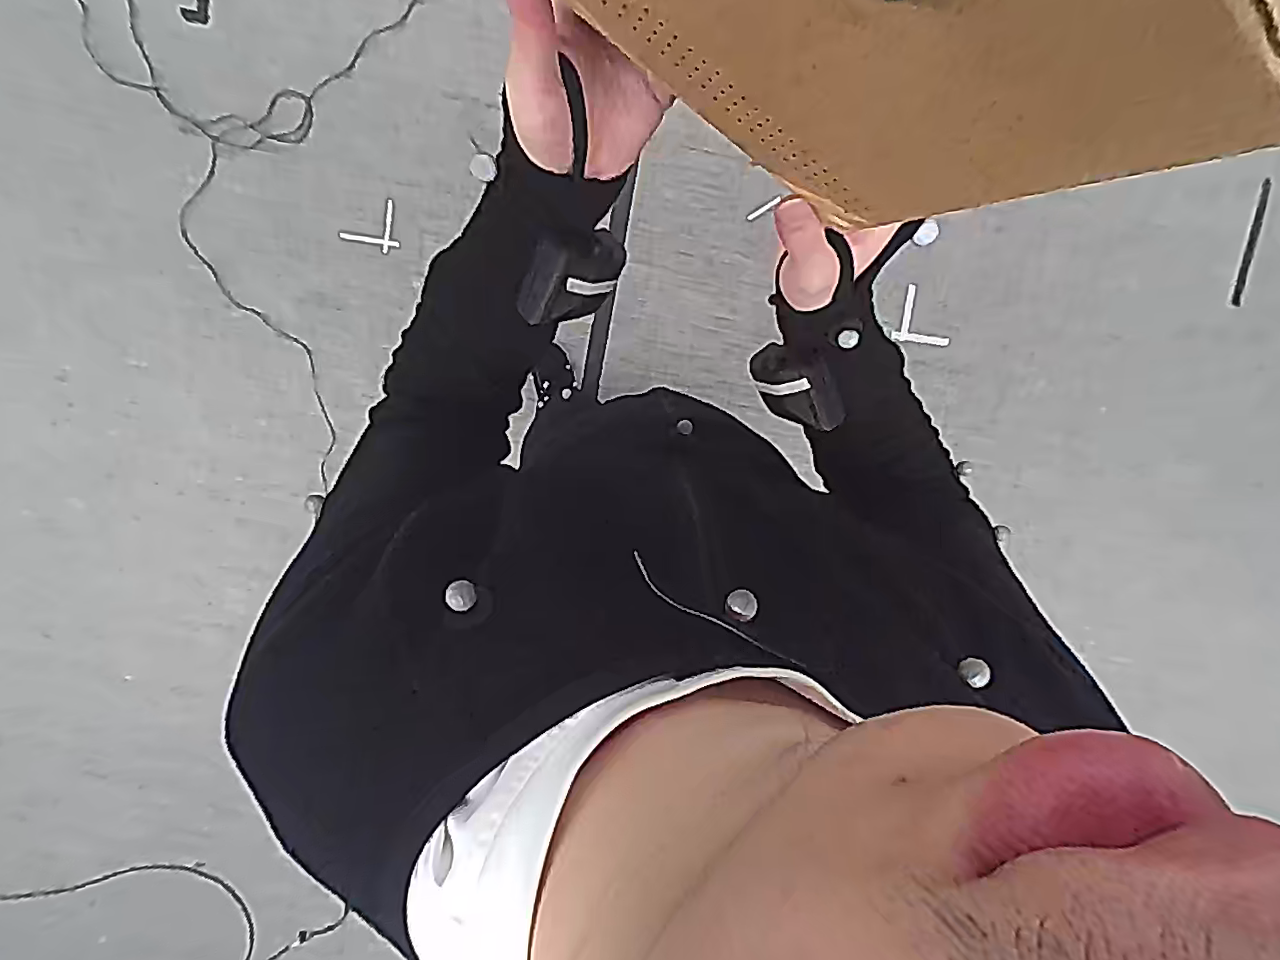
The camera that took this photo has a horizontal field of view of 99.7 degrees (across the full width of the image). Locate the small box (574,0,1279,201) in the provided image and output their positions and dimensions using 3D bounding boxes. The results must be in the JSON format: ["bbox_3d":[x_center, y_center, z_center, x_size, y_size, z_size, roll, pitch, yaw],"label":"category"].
[{"bbox_3d":[0.086,-0.210,0.157,0.179,0.176,0.168,24,99,-25],"label":"small box"}]
